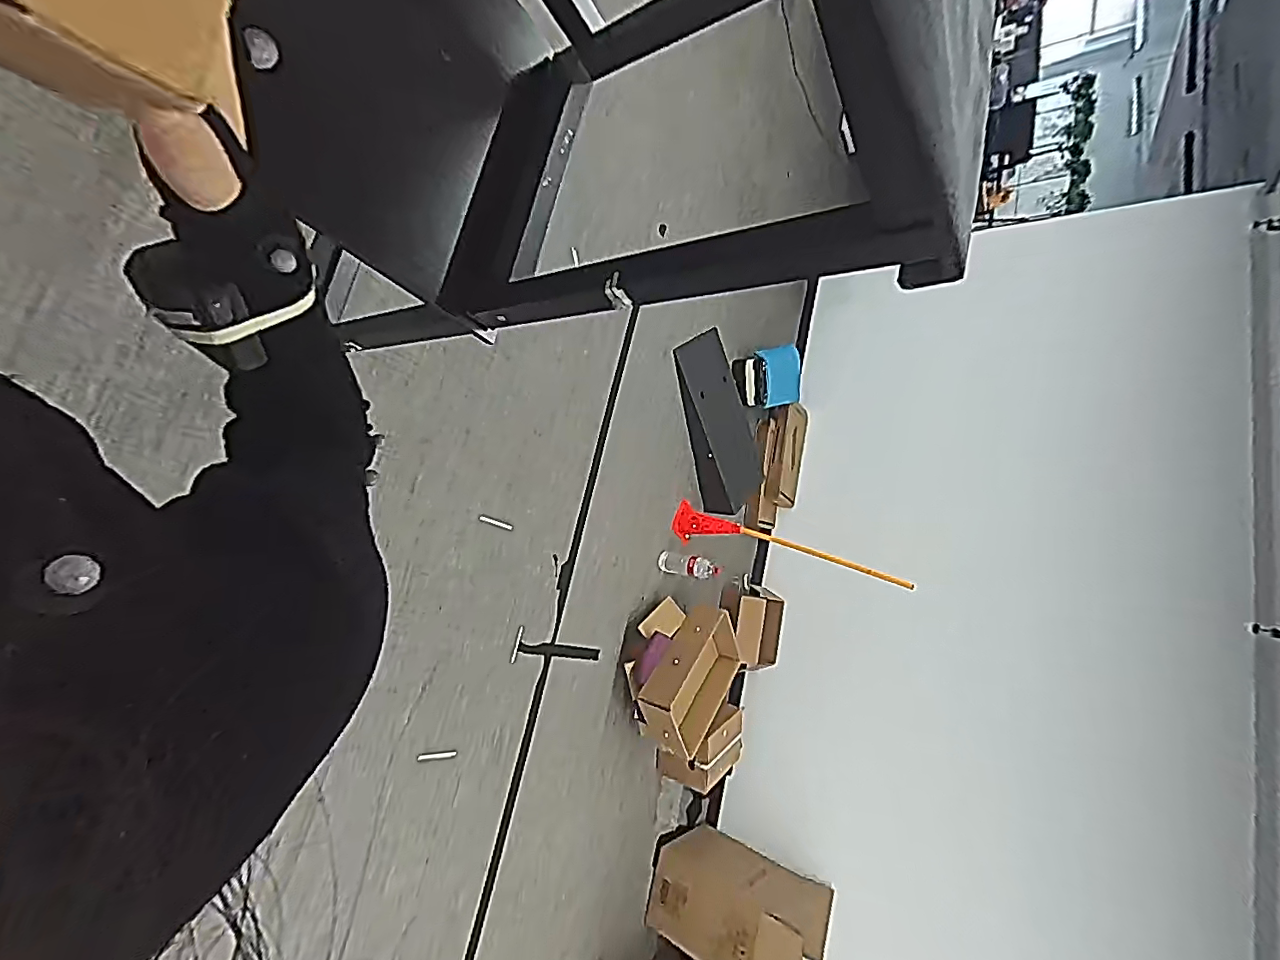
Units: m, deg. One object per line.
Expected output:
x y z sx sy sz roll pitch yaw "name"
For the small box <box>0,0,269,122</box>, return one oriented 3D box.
-0.179 -0.213 0.108 0.168 0.176 0.179 10 106 -56 "small box"
